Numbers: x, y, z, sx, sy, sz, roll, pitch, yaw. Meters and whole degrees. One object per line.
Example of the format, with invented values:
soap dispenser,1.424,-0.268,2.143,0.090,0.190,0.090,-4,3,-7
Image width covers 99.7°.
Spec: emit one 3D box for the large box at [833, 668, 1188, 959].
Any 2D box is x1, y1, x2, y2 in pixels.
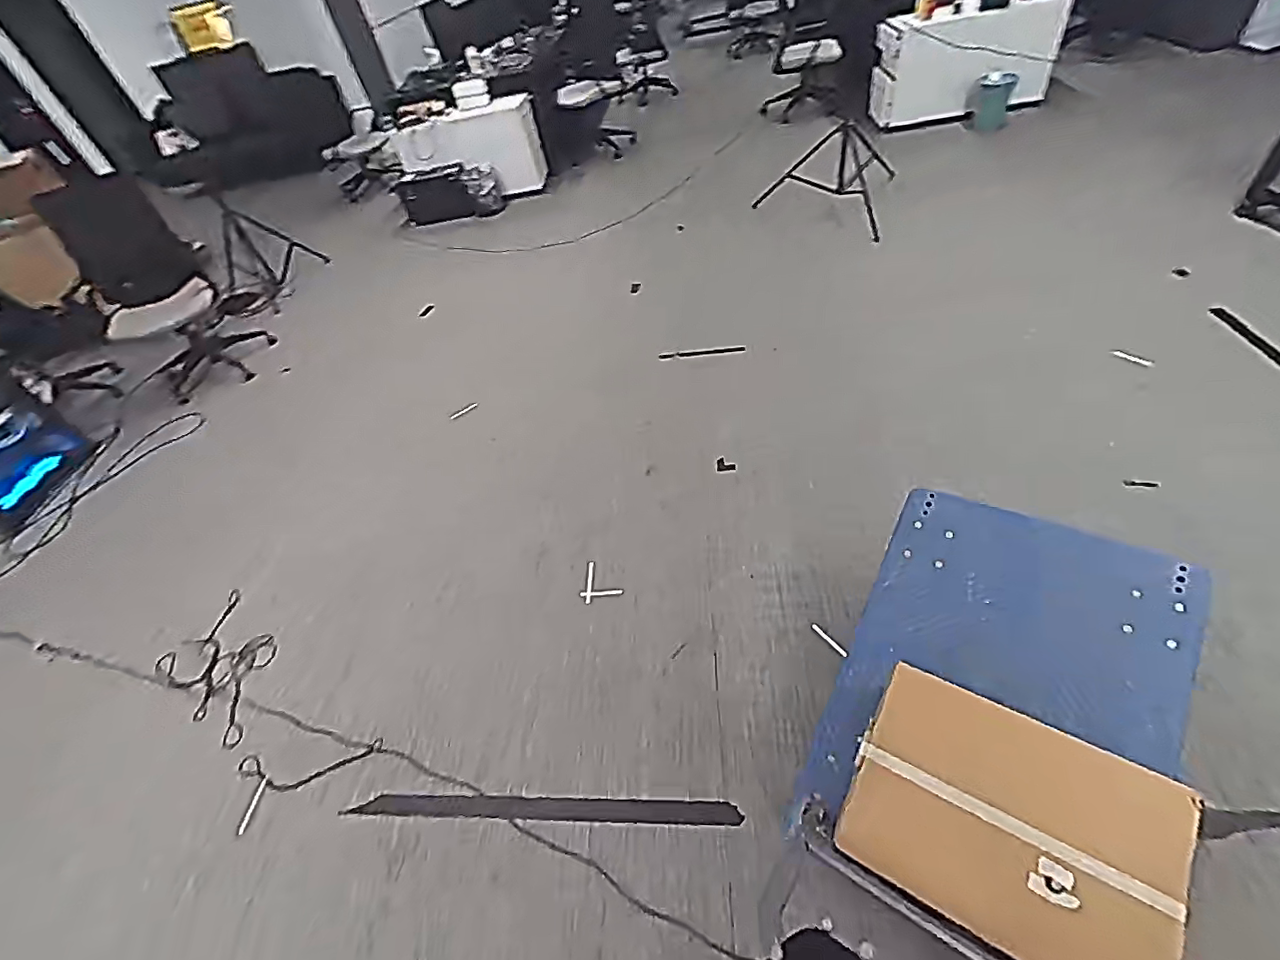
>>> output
large box,0.584,0.579,0.935,0.408,0.320,0.320,20,71,28
